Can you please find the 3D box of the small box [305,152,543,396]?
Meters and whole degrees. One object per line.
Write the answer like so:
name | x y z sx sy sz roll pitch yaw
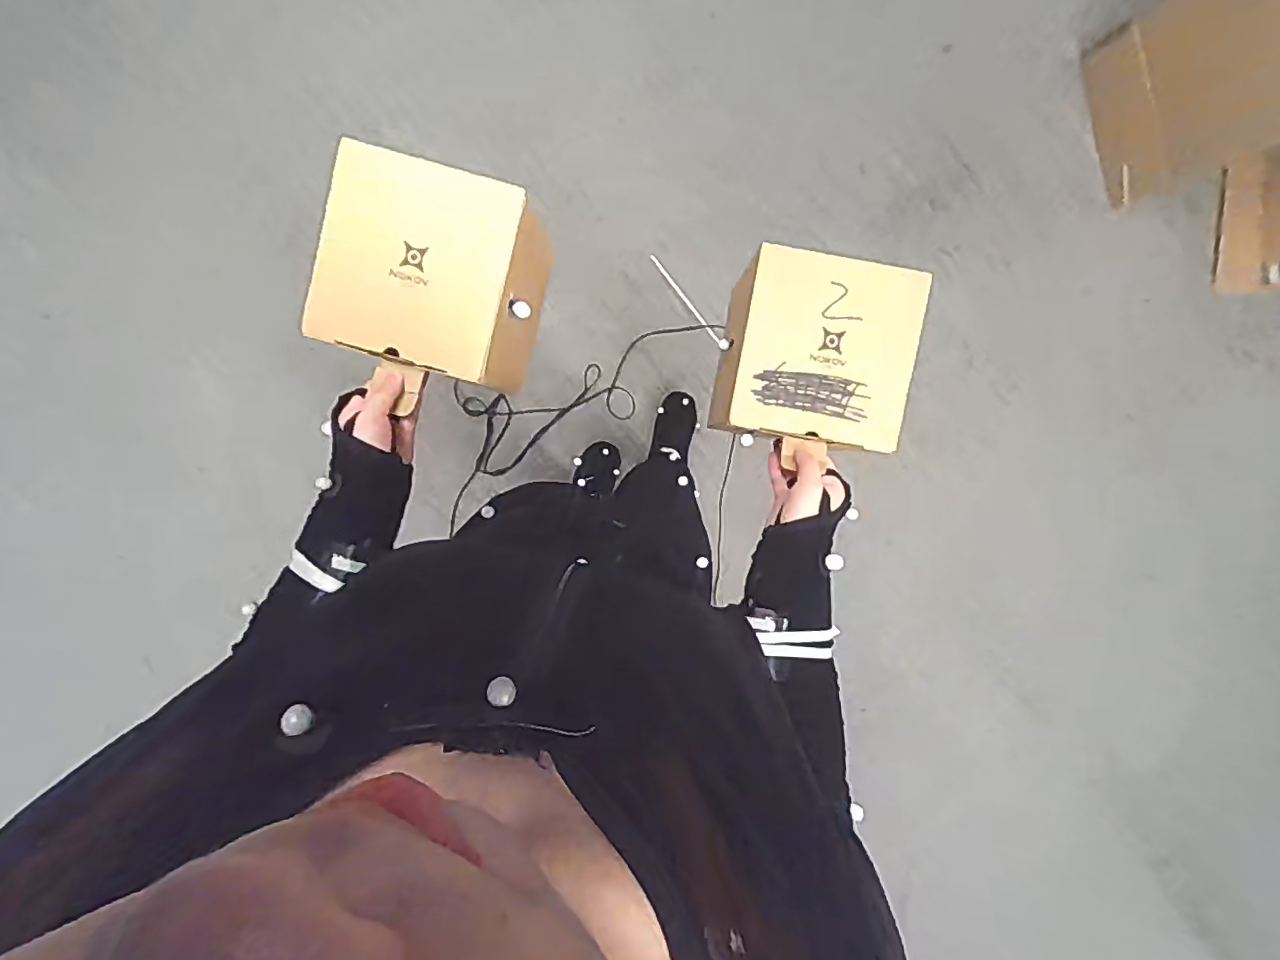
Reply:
small box | -0.206 -0.195 0.566 0.168 0.176 0.179 14 95 -1
